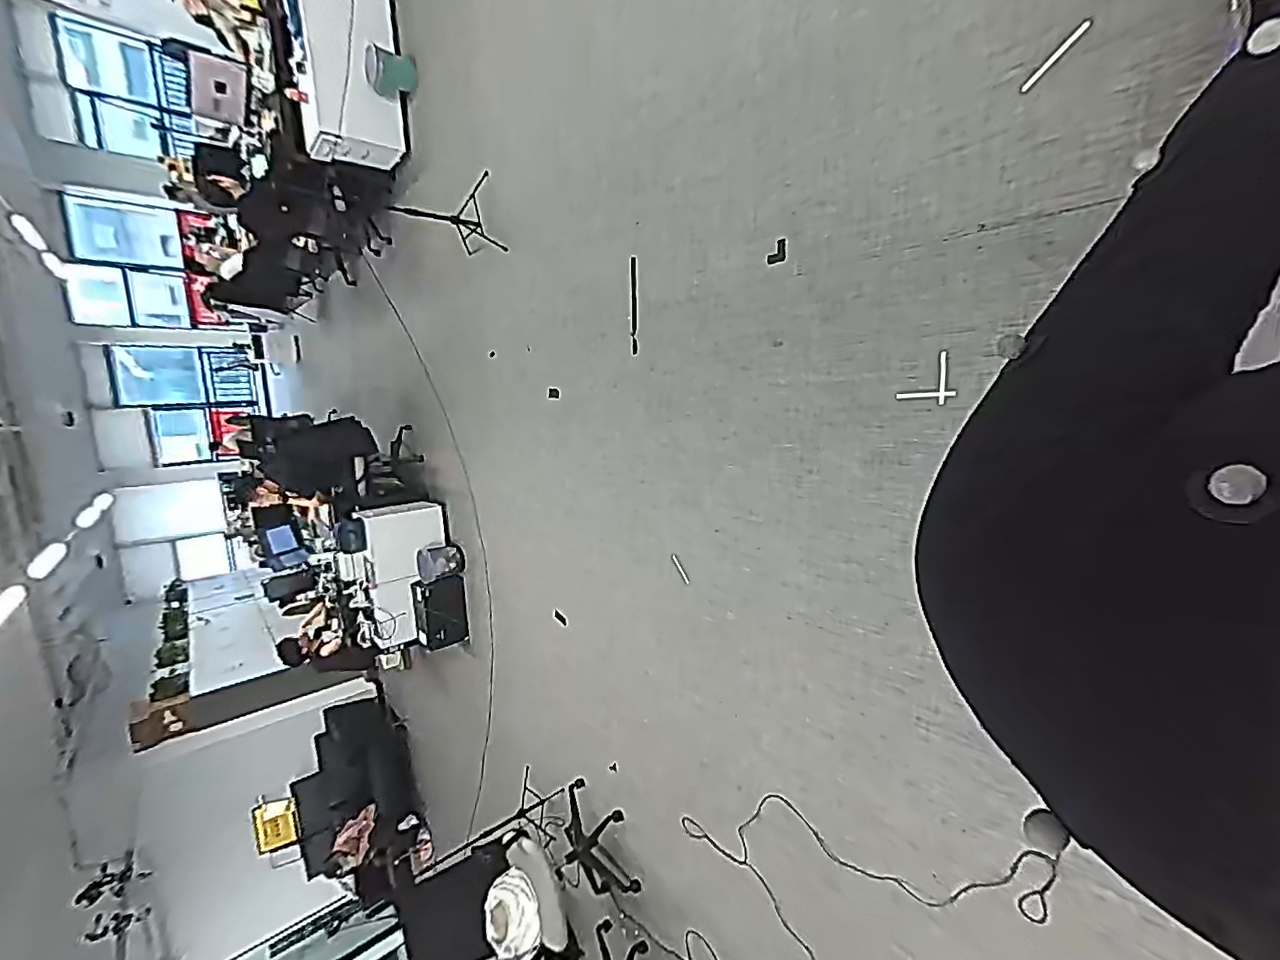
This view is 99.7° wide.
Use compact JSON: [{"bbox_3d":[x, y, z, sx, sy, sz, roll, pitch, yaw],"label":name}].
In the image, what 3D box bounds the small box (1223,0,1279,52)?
[{"bbox_3d":[0.933,-0.738,0.736,0.179,0.176,0.168,4,101,48],"label":"small box"}]
